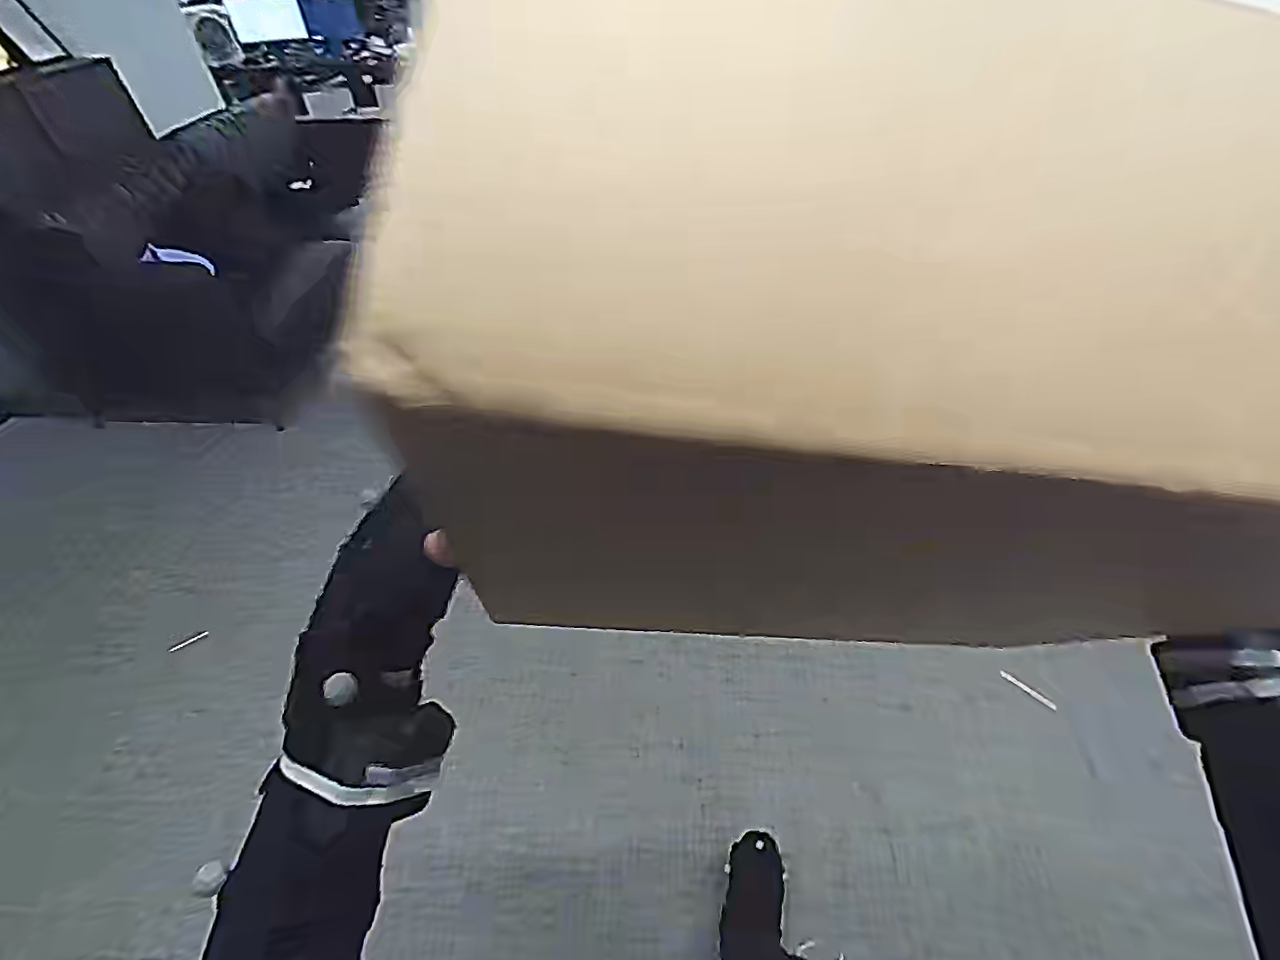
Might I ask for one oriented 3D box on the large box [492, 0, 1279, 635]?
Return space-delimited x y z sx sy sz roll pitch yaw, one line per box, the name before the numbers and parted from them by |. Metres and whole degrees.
large box | 0.138 -0.086 0.316 0.408 0.320 0.320 6 69 -11
